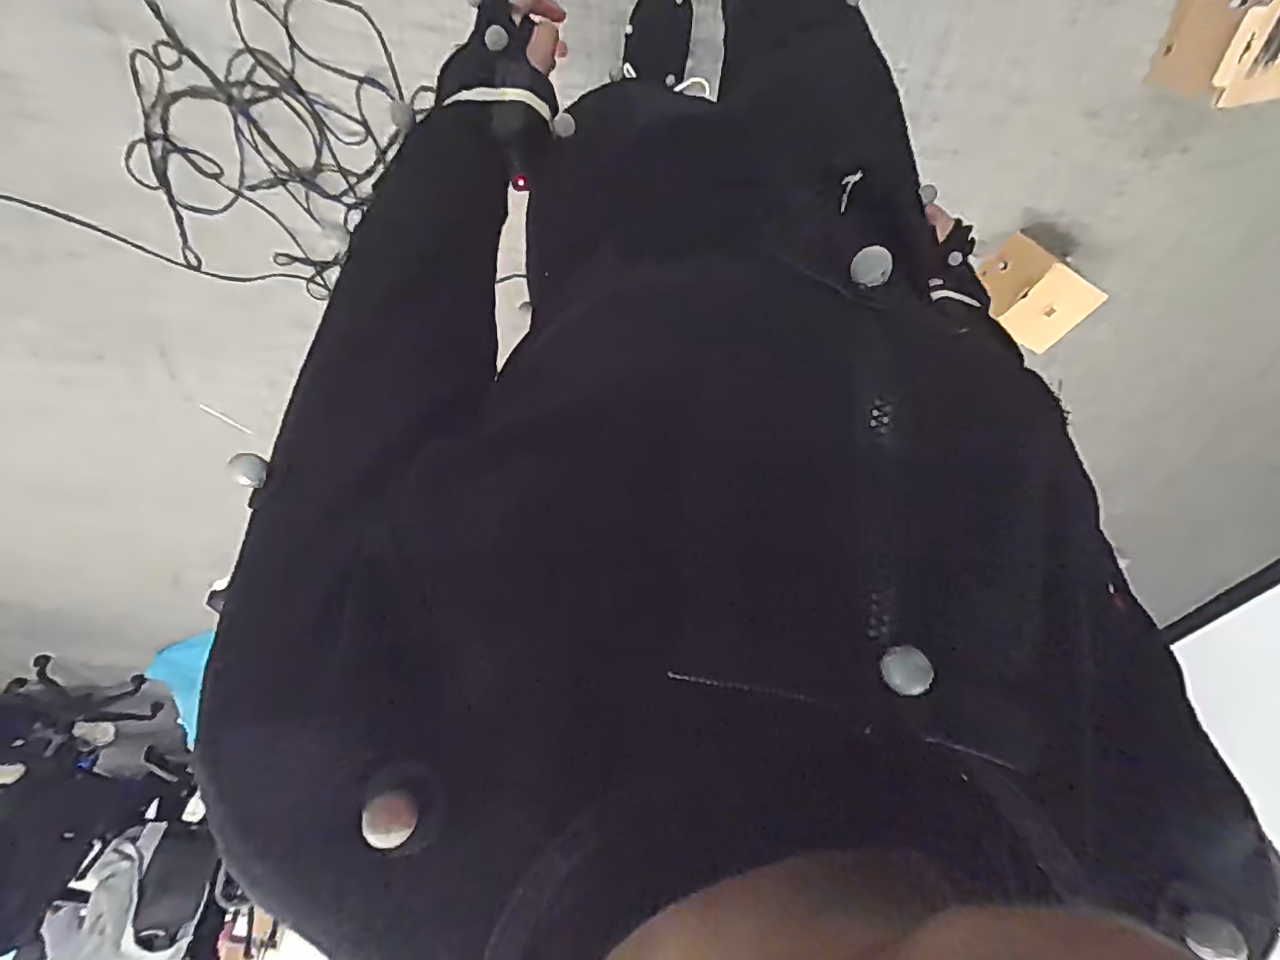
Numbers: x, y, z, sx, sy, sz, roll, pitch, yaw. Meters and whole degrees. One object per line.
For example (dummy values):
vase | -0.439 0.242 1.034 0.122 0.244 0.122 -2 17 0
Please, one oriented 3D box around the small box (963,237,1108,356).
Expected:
small box | 0.891 -0.420 1.232 0.179 0.176 0.168 18 133 -20
